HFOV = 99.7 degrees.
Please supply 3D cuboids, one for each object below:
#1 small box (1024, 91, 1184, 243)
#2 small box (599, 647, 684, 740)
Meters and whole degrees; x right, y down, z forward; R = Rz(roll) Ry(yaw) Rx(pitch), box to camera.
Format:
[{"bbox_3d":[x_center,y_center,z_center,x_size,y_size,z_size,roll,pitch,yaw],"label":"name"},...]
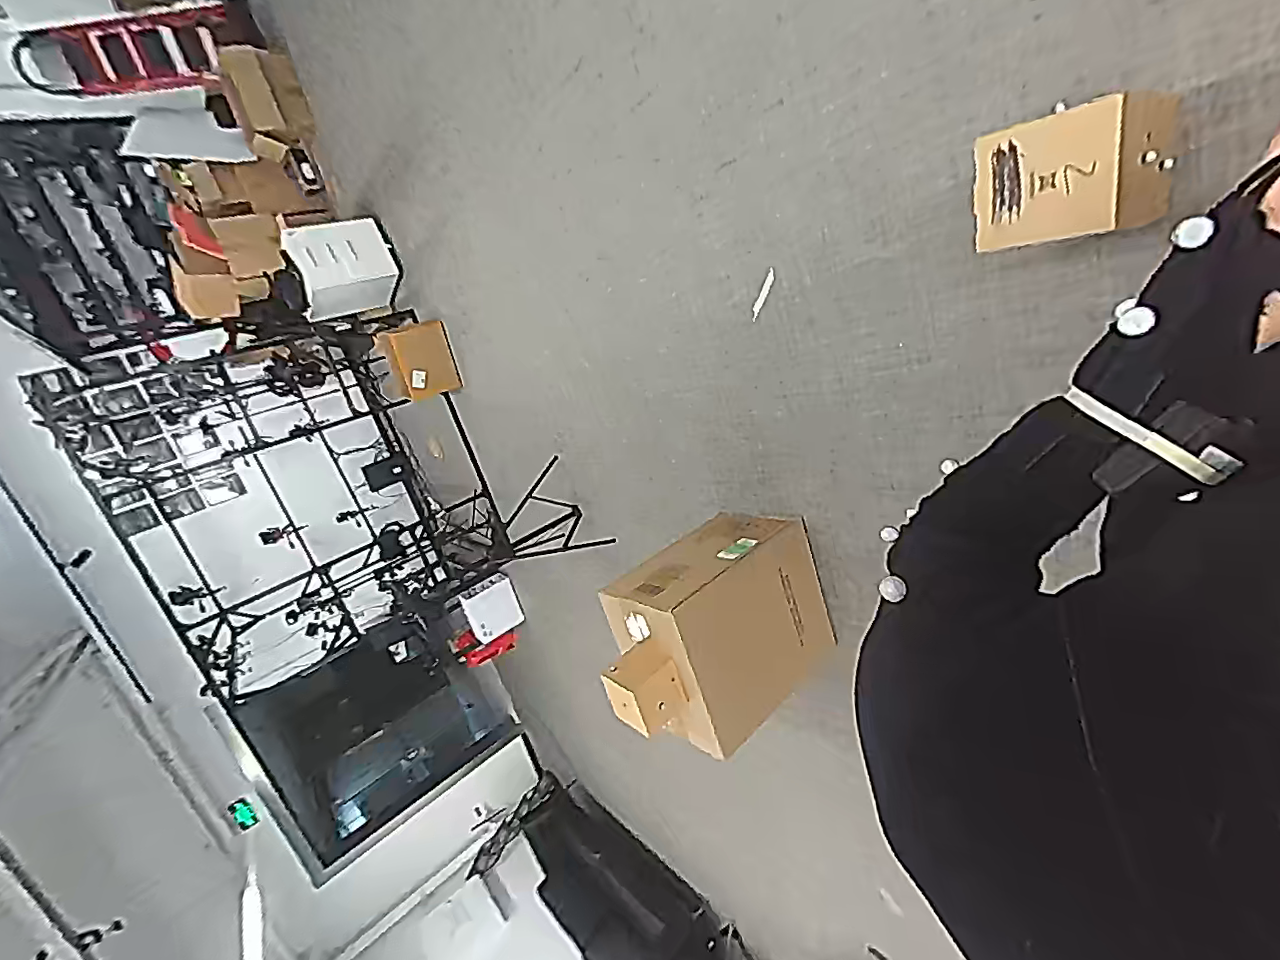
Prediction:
[{"bbox_3d":[0.761,-0.510,0.890,0.168,0.176,0.179,13,125,51],"label":"small box"},{"bbox_3d":[0.011,0.628,1.615,0.179,0.176,0.168,3,116,54],"label":"small box"}]
